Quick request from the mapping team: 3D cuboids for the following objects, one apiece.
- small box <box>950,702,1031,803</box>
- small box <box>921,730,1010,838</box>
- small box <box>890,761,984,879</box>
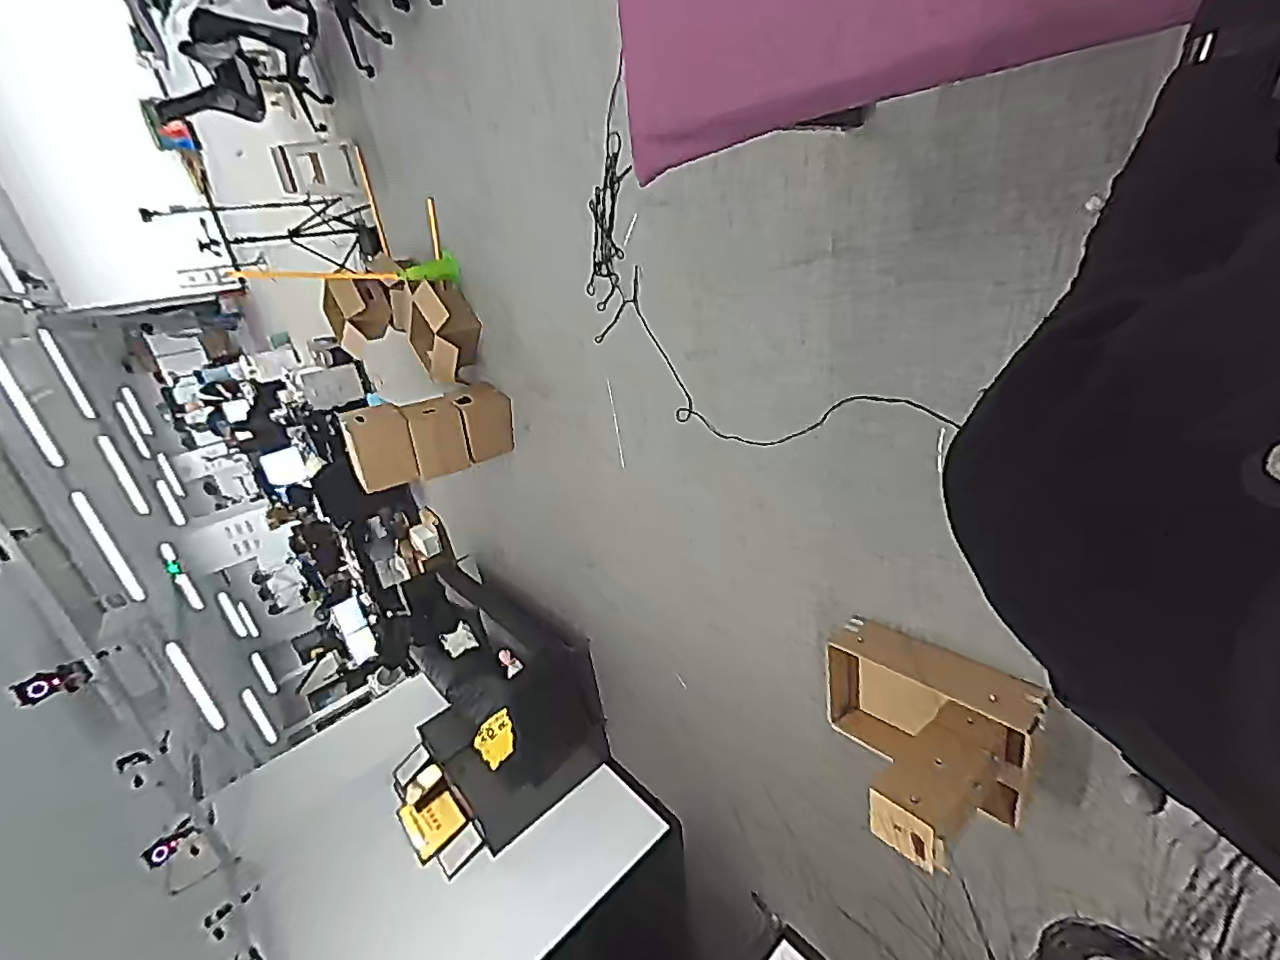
[{"bbox_3d":[1.061,0.816,1.640,0.168,0.176,0.179,14,121,52],"label":"small box"},{"bbox_3d":[0.932,0.858,1.549,0.179,0.176,0.168,15,120,51],"label":"small box"},{"bbox_3d":[0.803,0.907,1.462,0.179,0.176,0.168,15,120,51],"label":"small box"}]
